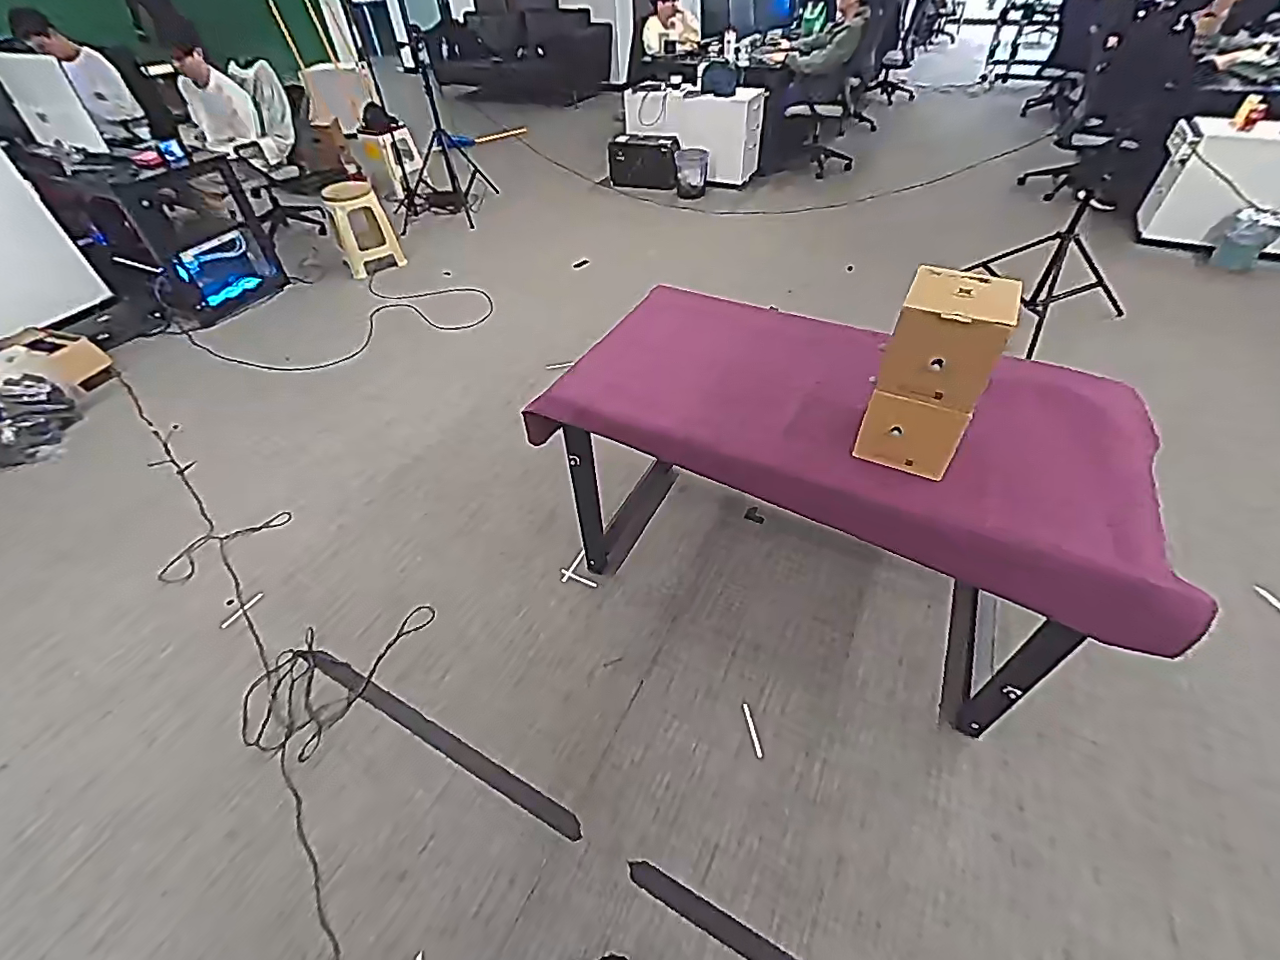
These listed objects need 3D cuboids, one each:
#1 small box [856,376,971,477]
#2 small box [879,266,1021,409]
[{"bbox_3d":[0.542,-0.132,1.068,0.168,0.176,0.179,19,49,21],"label":"small box"},{"bbox_3d":[0.538,-0.250,0.954,0.168,0.176,0.179,20,50,22],"label":"small box"}]
